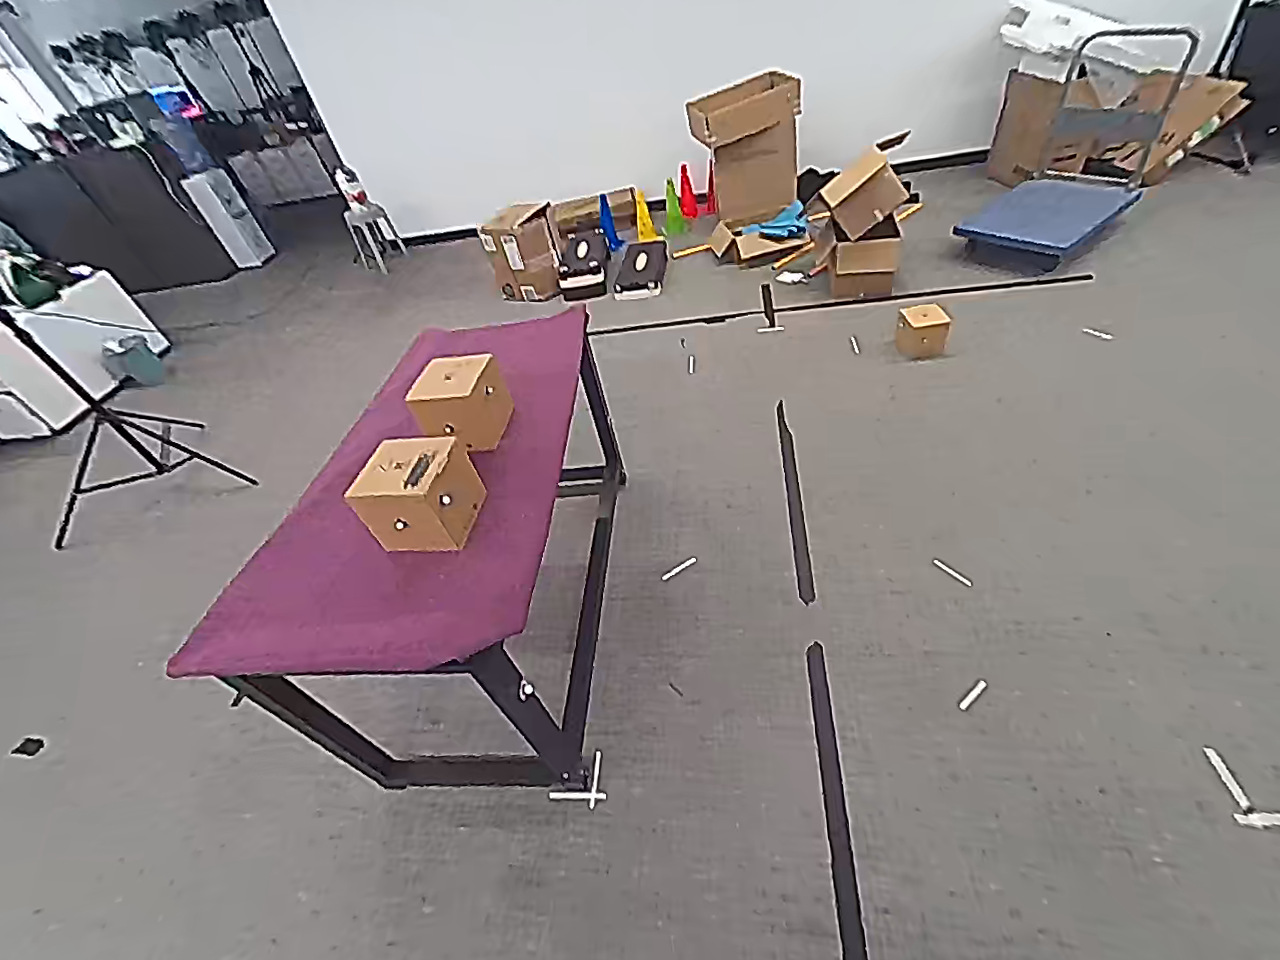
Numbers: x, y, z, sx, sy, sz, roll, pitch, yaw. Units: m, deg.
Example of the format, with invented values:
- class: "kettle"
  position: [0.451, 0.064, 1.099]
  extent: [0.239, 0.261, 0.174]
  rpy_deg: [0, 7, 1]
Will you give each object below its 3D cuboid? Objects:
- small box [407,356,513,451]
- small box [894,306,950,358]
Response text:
- class: "small box"
  position: [-0.430, -0.183, 1.333]
  extent: [0.168, 0.176, 0.179]
  rpy_deg: [-2, 44, 12]
- class: "small box"
  position: [1.300, -0.677, 2.501]
  extent: [0.168, 0.176, 0.179]
  rpy_deg: [-8, 43, 5]
